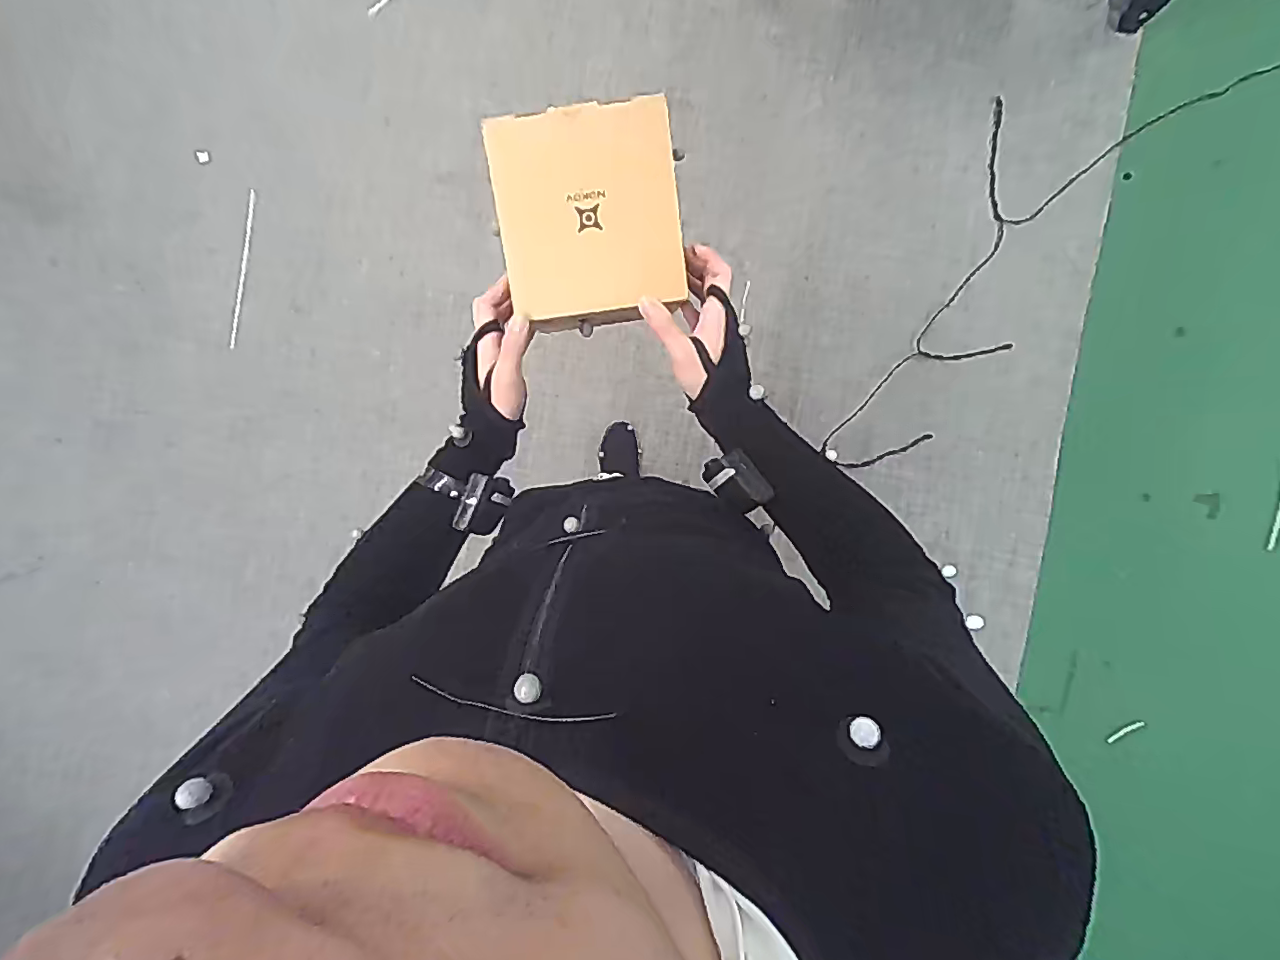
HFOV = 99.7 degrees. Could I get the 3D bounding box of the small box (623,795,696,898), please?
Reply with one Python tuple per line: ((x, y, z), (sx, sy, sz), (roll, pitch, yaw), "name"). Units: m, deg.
((0.056, 1.044, 1.557), (0.179, 0.176, 0.168), (12, 91, 2), "small box")
